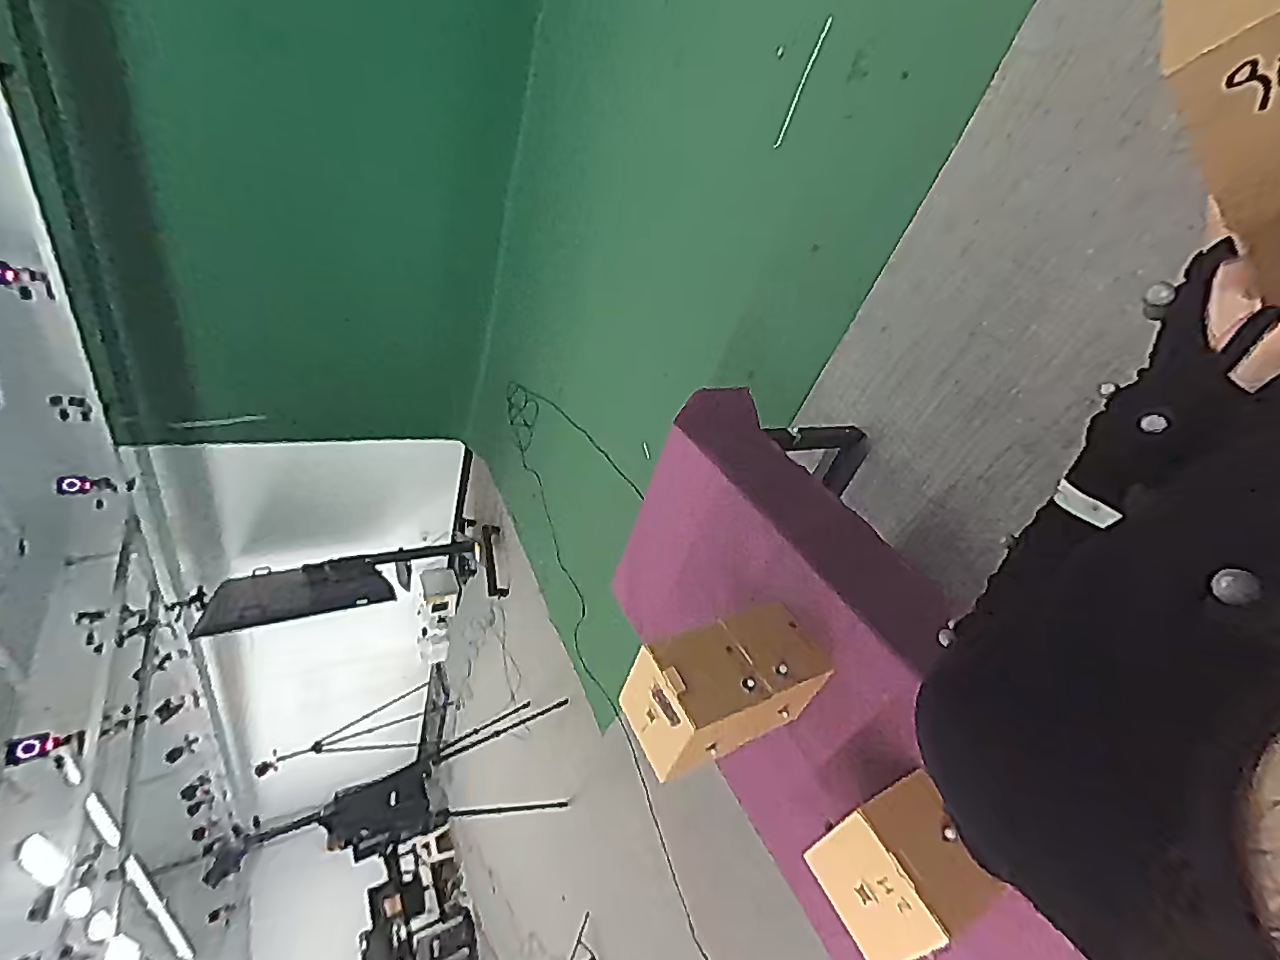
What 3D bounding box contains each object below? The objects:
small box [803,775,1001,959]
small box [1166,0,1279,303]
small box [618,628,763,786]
[{"bbox_3d":[0.389,0.583,0.810,0.168,0.176,0.179,53,135,39],"label":"small box"},{"bbox_3d":[0.369,-0.220,0.234,0.168,0.179,0.176,-13,50,56],"label":"small box"},{"bbox_3d":[0.088,0.386,0.945,0.168,0.176,0.179,52,136,40],"label":"small box"}]
